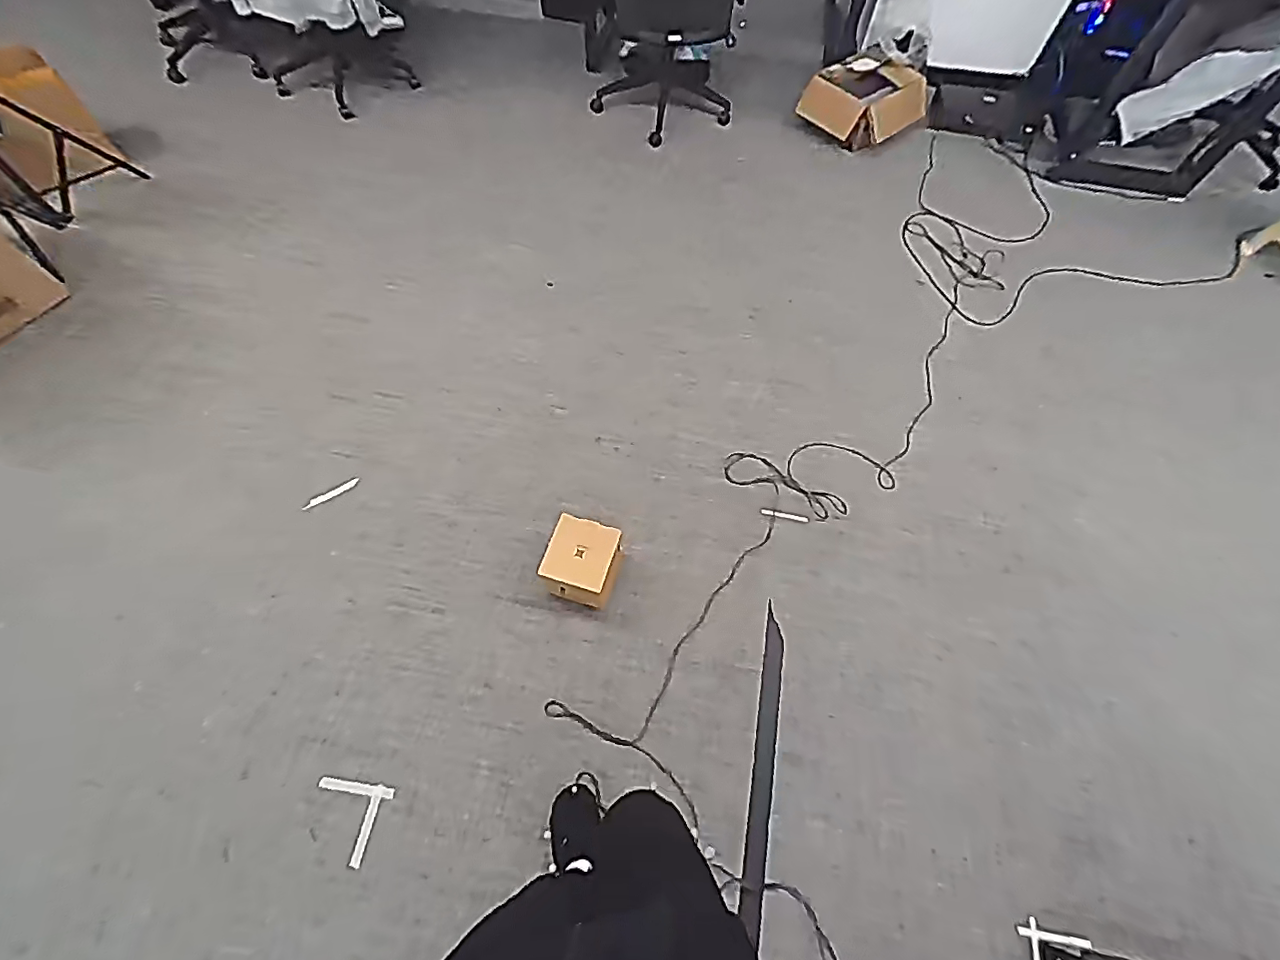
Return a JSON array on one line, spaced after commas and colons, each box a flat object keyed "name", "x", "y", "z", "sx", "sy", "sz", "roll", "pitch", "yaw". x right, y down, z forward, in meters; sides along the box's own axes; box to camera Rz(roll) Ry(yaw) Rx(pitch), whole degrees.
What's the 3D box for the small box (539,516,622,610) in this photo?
[{"name": "small box", "x": -0.145, "y": 0.224, "z": 1.419, "sx": 0.168, "sy": 0.176, "sz": 0.179, "roll": 15, "pitch": 63, "yaw": 7}]
